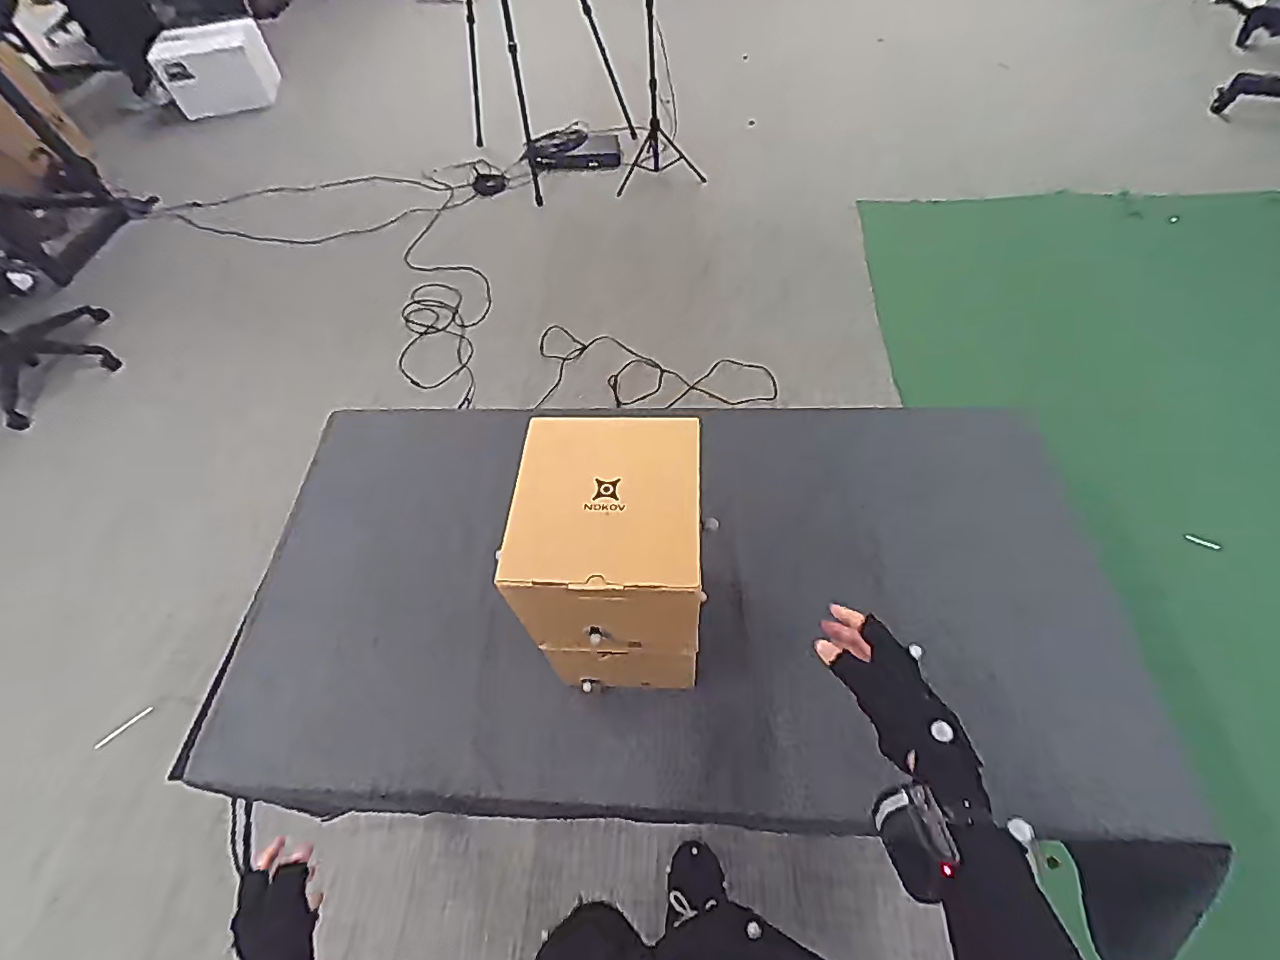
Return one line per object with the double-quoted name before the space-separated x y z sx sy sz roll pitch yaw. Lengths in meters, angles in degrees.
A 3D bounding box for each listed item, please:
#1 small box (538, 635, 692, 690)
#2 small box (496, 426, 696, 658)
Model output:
"small box" -0.018 0.156 0.680 0.168 0.176 0.179 0 55 5
"small box" -0.028 0.065 0.546 0.168 0.176 0.179 0 56 5
